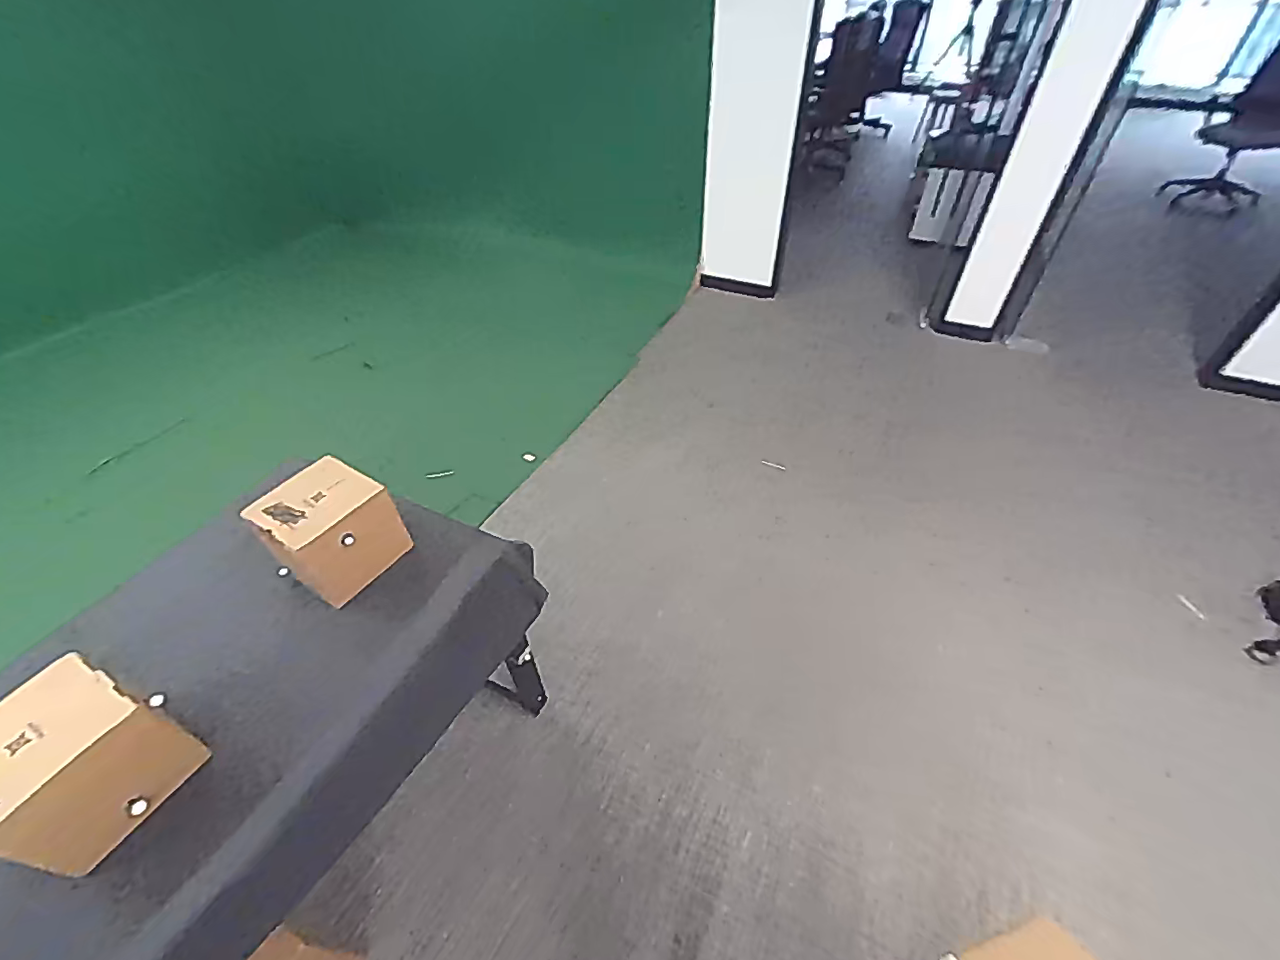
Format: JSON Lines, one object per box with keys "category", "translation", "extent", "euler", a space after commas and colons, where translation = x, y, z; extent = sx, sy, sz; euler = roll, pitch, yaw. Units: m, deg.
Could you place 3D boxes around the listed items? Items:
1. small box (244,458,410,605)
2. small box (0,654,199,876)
{"category": "small box", "translation": [-0.561, 0.096, 0.994], "extent": [0.168, 0.176, 0.179], "euler": [24, 49, 24]}
{"category": "small box", "translation": [-0.741, 0.375, 0.717], "extent": [0.168, 0.176, 0.179], "euler": [20, 48, 21]}
